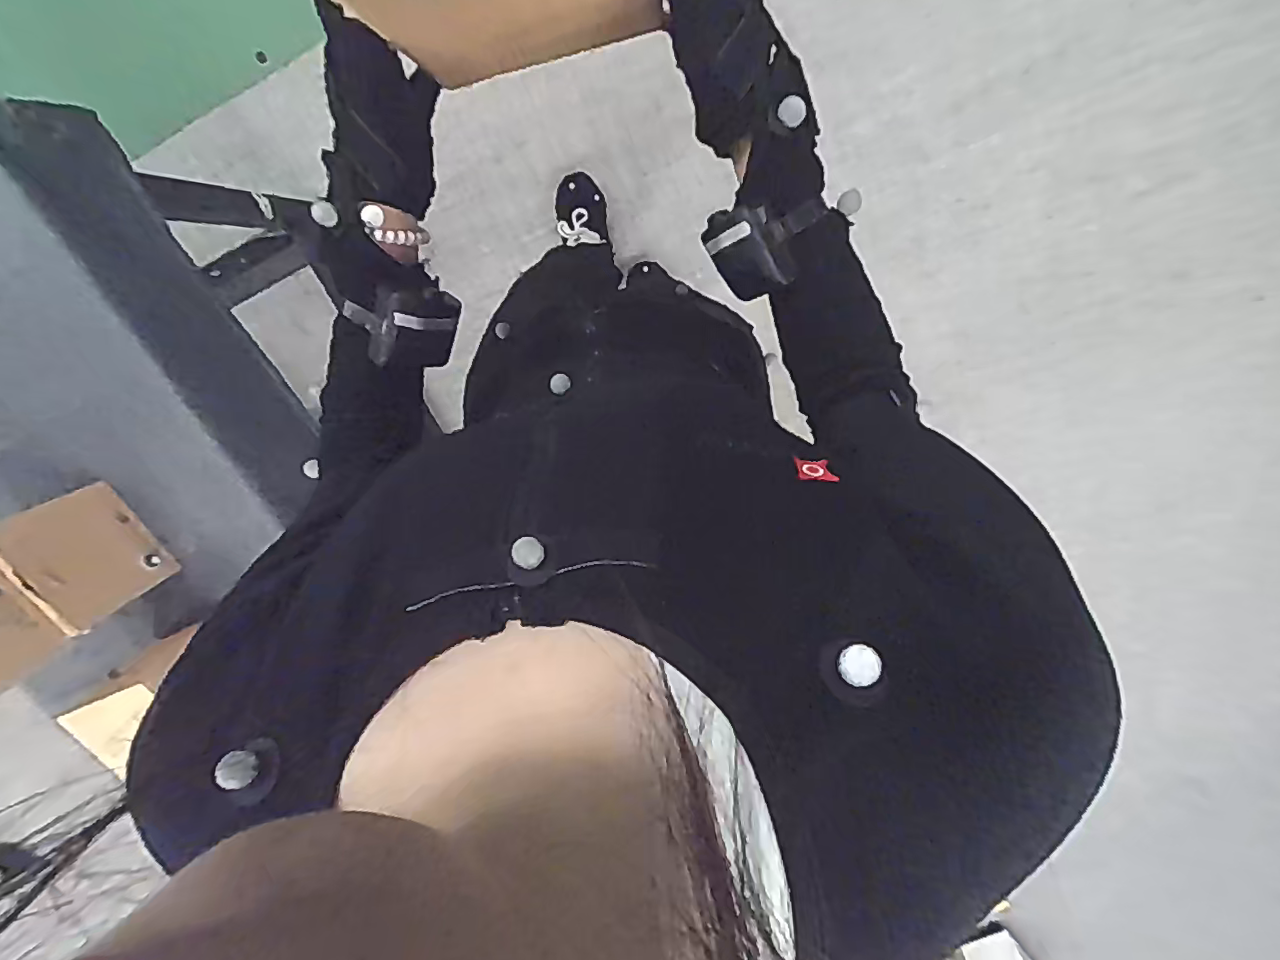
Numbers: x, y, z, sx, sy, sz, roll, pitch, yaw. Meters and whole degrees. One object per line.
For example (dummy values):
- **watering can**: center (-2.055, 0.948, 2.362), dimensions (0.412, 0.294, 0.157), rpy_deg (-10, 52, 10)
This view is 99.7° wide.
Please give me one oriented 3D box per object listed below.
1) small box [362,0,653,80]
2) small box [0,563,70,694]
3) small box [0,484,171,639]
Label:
- **small box**: center (-0.090, -0.359, 0.301), dimensions (0.179, 0.176, 0.168), rpy_deg (-12, 111, 6)
- **small box**: center (-0.844, 0.206, 0.621), dimensions (0.179, 0.176, 0.168), rpy_deg (-24, 110, 11)
- **small box**: center (-0.828, 0.128, 0.765), dimensions (0.179, 0.176, 0.168), rpy_deg (-22, 109, 12)
